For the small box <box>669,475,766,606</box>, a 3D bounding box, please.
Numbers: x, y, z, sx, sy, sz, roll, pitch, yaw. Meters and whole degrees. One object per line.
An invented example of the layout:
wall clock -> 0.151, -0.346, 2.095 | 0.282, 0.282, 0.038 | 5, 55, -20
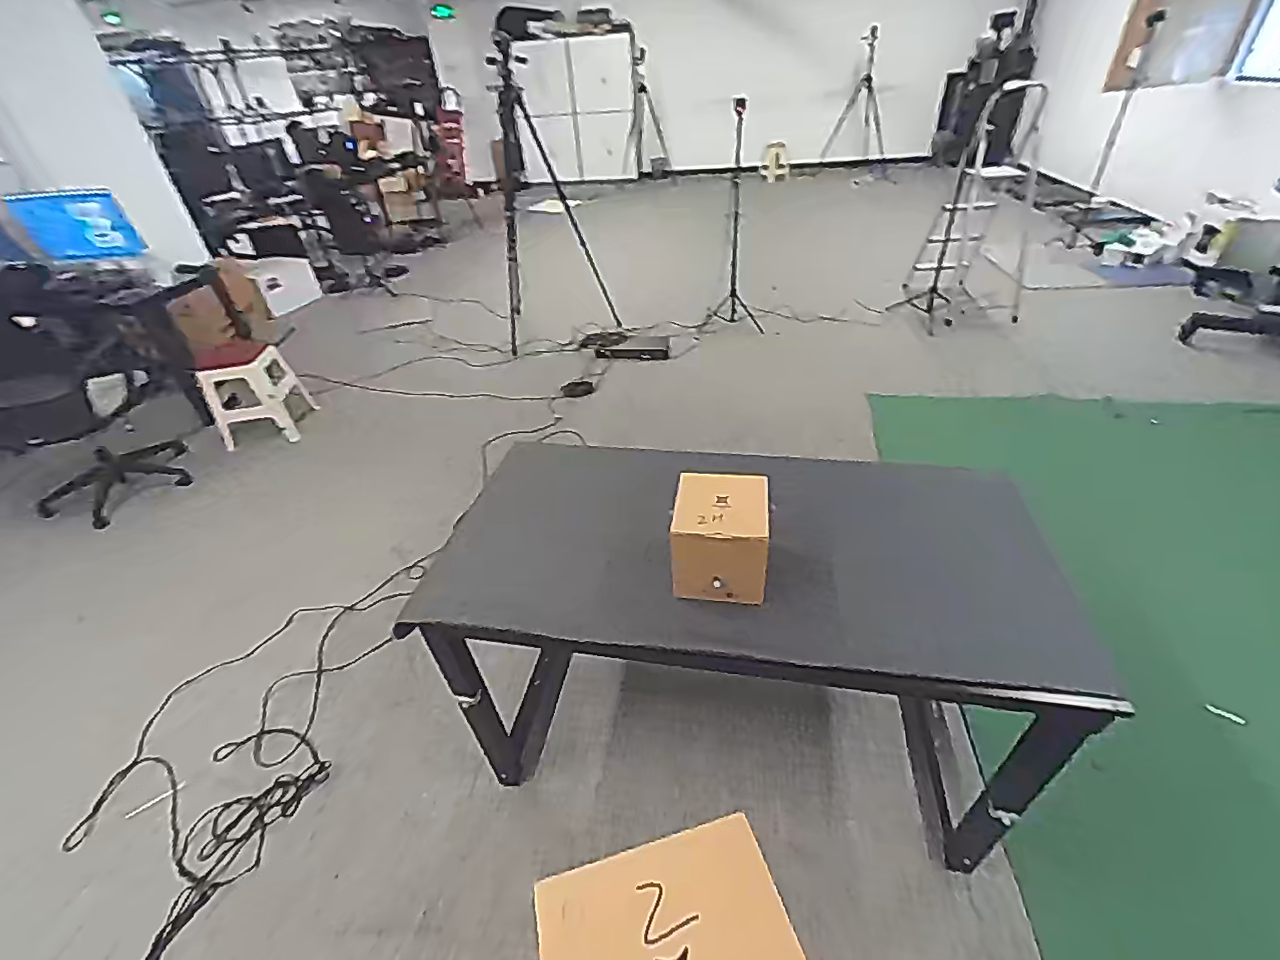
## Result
small box -> 0.147, 0.112, 1.021 | 0.168, 0.176, 0.179 | 2, 37, 10
